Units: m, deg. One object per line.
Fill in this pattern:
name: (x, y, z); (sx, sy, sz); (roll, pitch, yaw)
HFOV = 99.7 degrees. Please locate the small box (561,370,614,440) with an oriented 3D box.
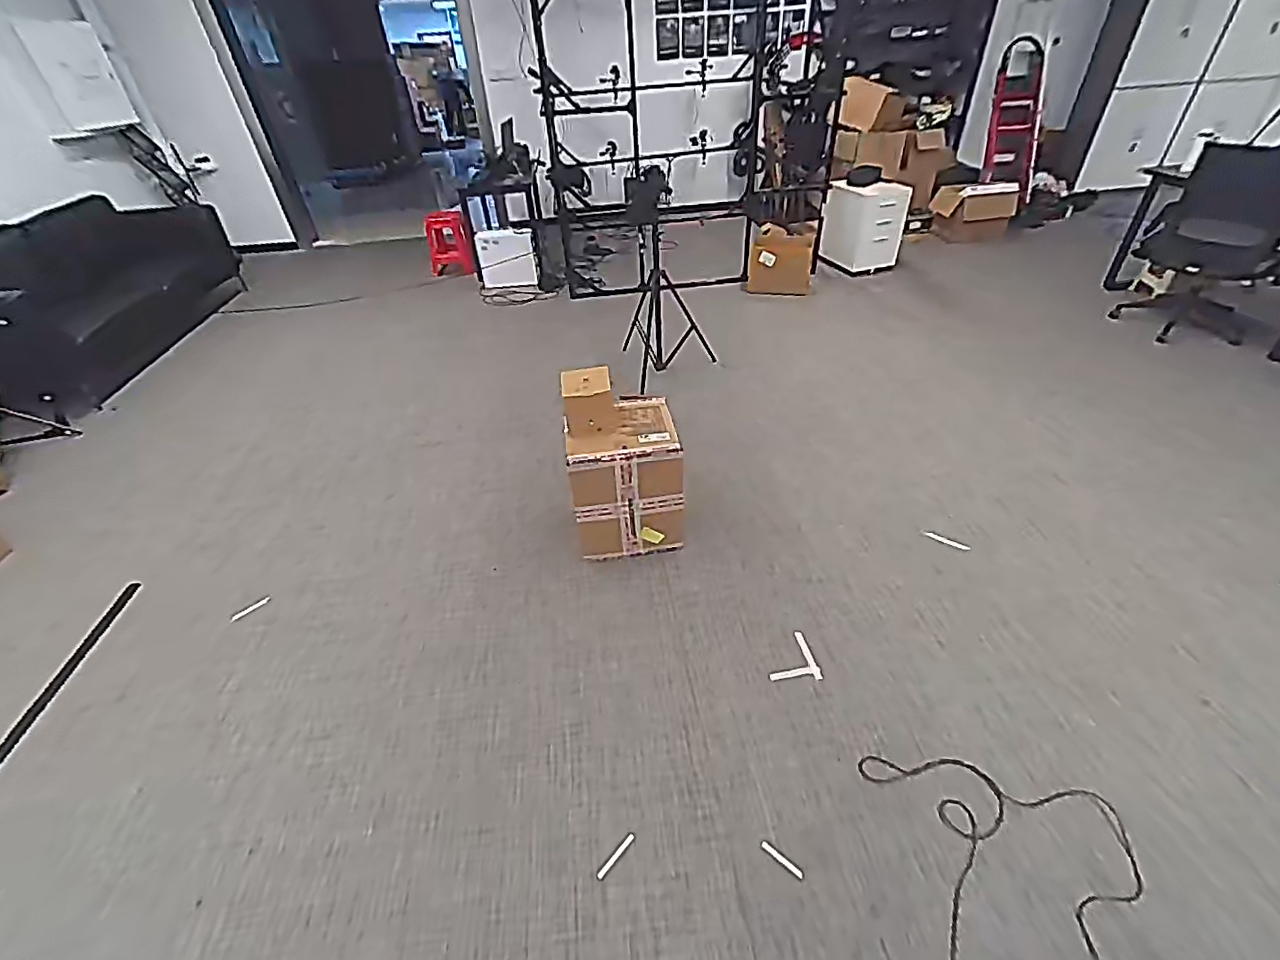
small box: (-0.185, -0.263, 1.900); (0.168, 0.176, 0.179); (-8, 41, -2)
